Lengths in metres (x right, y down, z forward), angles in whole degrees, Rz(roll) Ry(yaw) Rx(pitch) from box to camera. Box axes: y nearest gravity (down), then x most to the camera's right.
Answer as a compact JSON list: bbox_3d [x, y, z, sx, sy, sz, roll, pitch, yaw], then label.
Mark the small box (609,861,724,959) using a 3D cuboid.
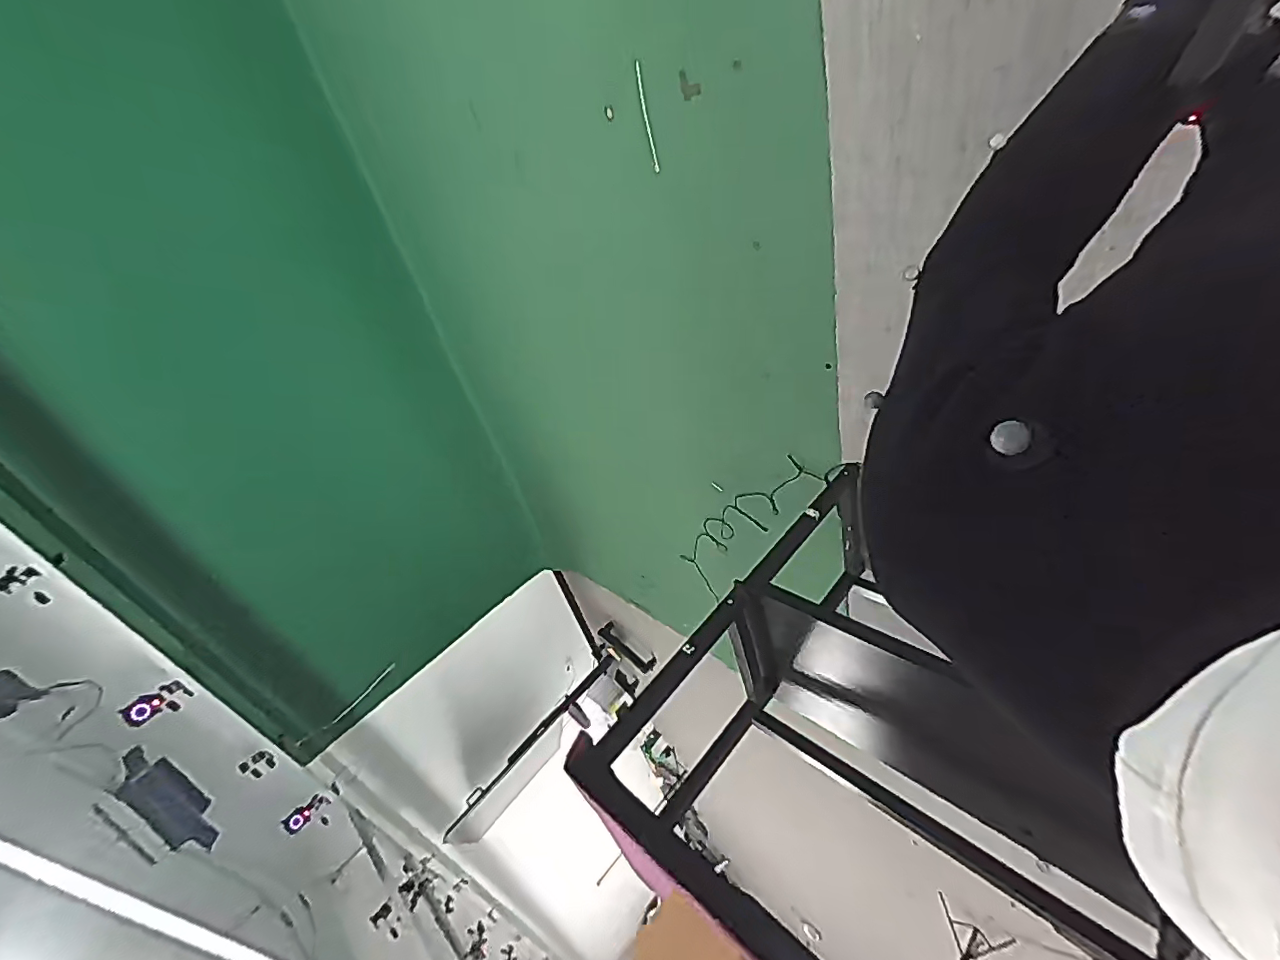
[{"bbox_3d":[0.068,0.990,1.180,0.179,0.176,0.168,21,141,40],"label":"small box"}]
